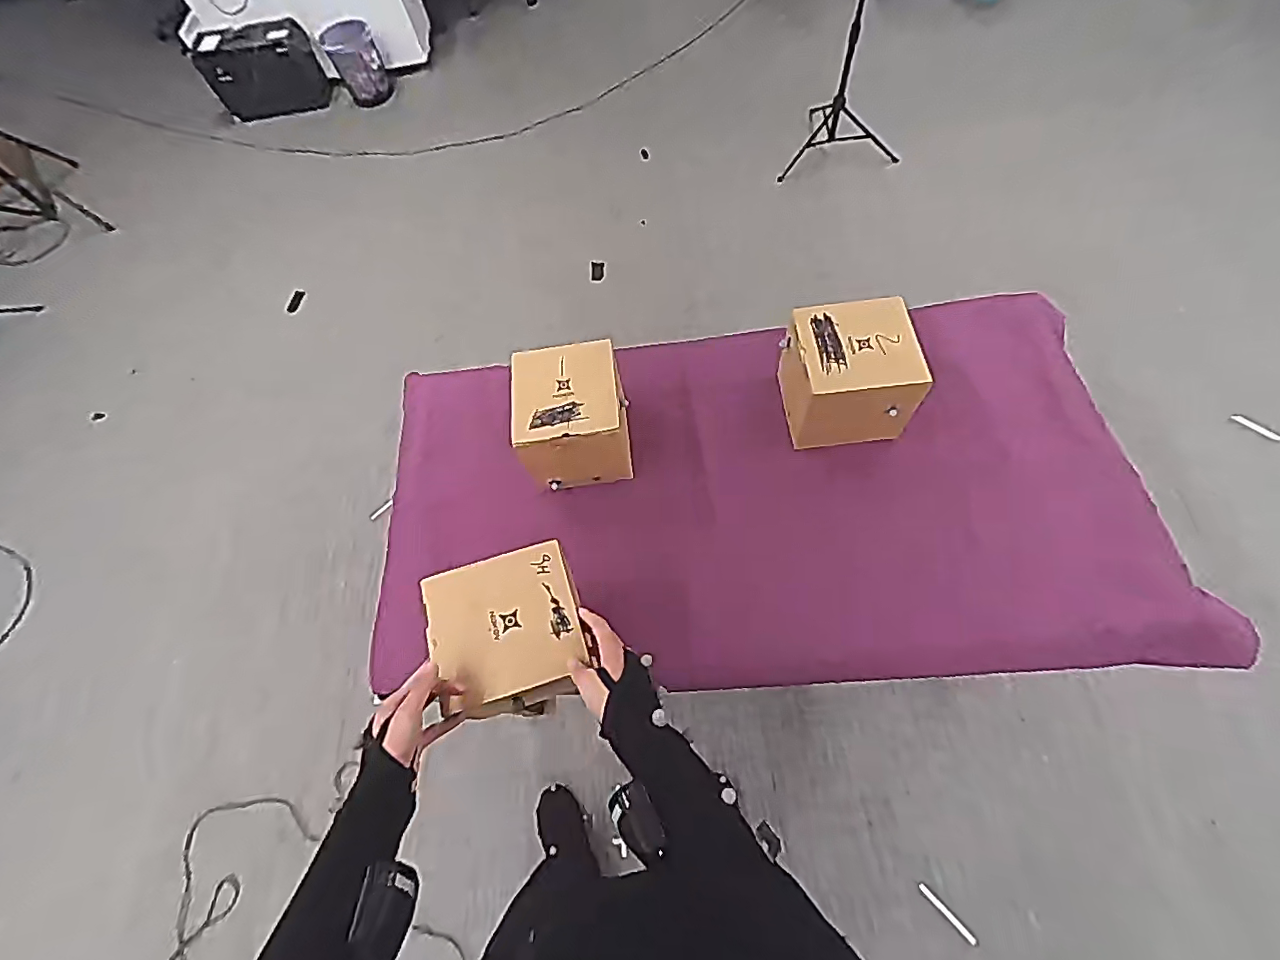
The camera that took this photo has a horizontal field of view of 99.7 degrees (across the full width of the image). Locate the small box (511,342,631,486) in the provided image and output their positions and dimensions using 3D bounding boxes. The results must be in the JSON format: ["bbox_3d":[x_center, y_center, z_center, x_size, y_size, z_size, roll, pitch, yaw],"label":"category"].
[{"bbox_3d":[-0.111,-0.101,0.909,0.168,0.176,0.179,-8,63,2],"label":"small box"}]

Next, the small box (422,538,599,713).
[{"bbox_3d":[-0.163,0.201,0.718,0.179,0.176,0.168,-16,66,-7],"label":"small box"}]
